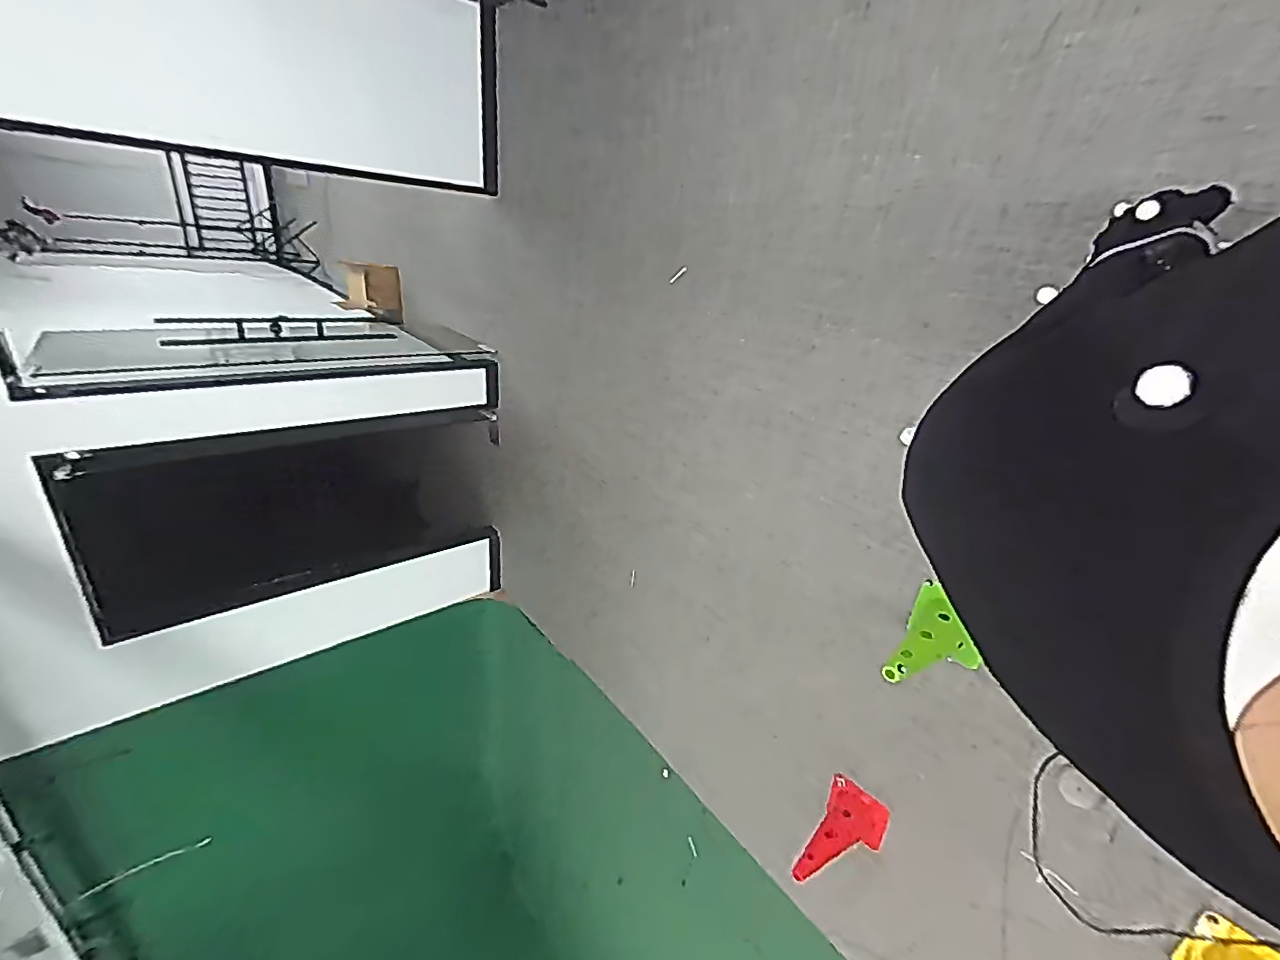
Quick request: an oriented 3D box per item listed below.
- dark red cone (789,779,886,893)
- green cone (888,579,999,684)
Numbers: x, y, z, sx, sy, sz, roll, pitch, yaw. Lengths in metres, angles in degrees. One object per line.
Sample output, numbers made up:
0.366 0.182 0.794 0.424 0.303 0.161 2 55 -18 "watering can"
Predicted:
0.614 1.190 1.758 0.202 0.394 0.201 24 121 45 "dark red cone"
0.739 0.432 1.401 0.202 0.368 0.200 28 123 42 "green cone"
